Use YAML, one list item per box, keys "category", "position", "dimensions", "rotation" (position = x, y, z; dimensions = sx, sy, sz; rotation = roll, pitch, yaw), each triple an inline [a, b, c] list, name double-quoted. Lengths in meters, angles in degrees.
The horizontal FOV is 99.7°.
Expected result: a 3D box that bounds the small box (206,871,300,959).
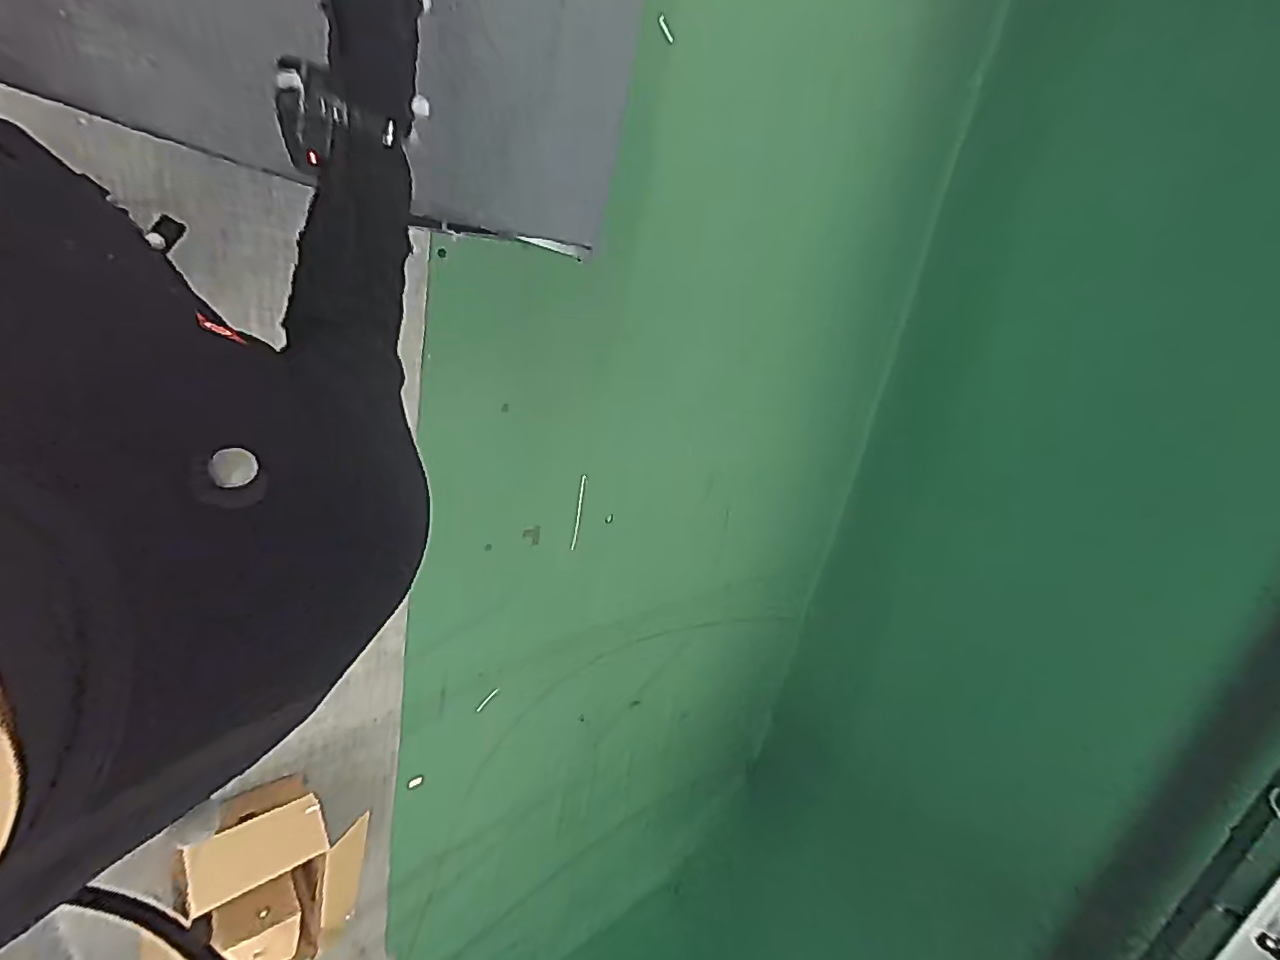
- category: "small box"
  position: [-1.031, 1.202, 1.435]
  dimensions: [0.179, 0.176, 0.168]
  rotation: [-2, 111, -46]
